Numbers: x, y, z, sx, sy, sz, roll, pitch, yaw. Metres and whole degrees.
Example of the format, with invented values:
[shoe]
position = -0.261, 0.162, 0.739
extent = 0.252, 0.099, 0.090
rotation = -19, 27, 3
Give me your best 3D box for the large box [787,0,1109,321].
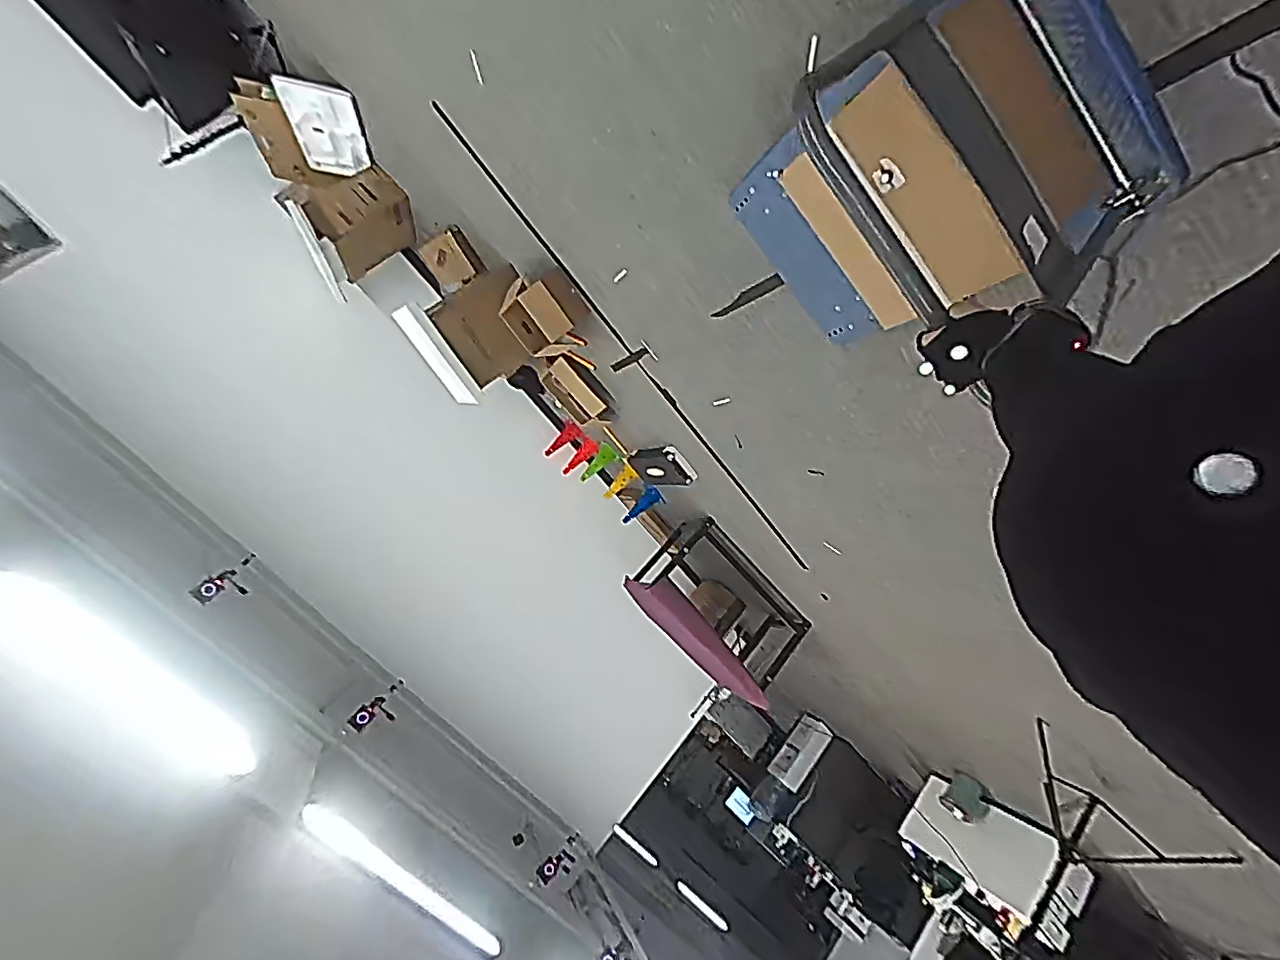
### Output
[large box]
position = 0.582, -0.600, 1.046
extent = 0.408, 0.320, 0.320
rotation = 49, 160, -11
